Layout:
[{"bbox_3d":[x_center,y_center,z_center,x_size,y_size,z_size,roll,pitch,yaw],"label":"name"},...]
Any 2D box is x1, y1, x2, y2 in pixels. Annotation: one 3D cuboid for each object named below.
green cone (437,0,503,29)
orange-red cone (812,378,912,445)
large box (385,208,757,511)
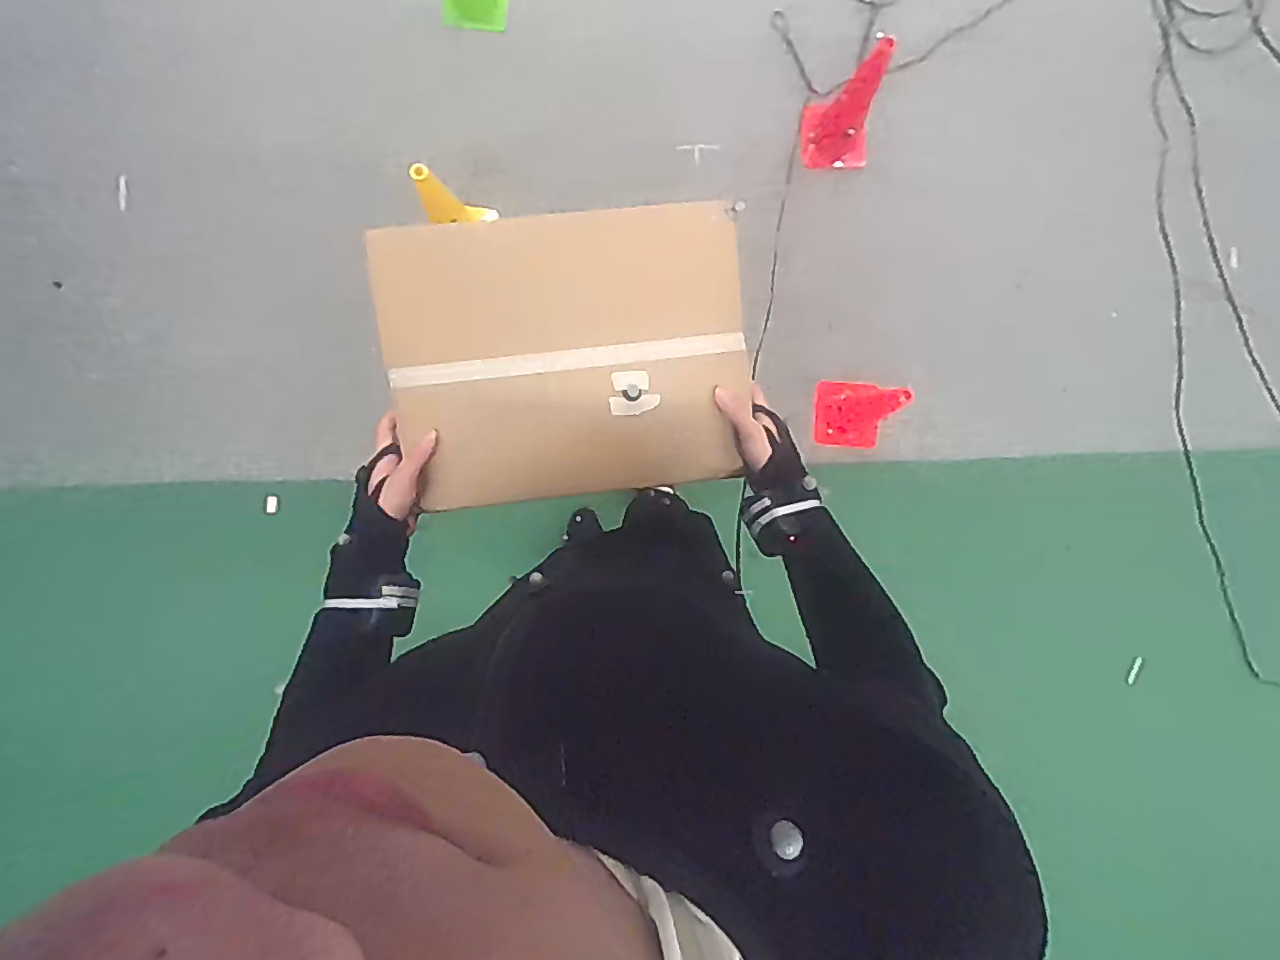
[{"bbox_3d":[-0.513,-1.486,1.482,0.200,0.368,0.202,4,91,-1],"label":"green cone"},{"bbox_3d":[0.646,-0.211,1.503,0.199,0.360,0.198,5,90,-3],"label":"orange-red cone"},{"bbox_3d":[-0.082,-0.154,0.771,0.408,0.320,0.320,-6,98,-4],"label":"large box"}]
